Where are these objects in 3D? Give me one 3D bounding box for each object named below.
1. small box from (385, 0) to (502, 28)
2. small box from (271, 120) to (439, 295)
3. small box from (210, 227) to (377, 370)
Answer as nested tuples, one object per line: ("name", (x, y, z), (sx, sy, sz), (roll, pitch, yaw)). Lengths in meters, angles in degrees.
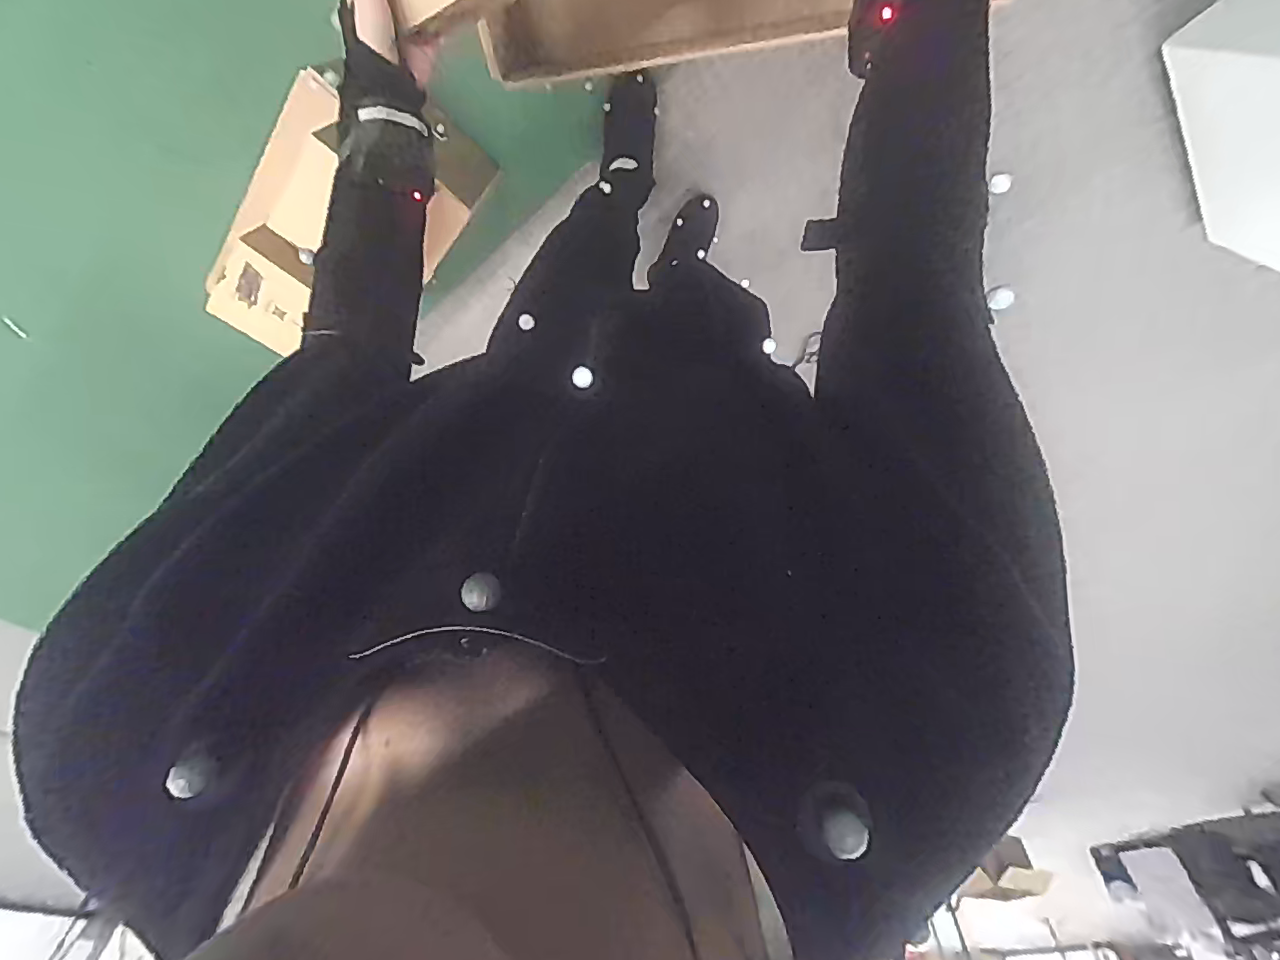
("small box", (-0.117, -0.481, 0.403), (0.179, 0.176, 0.168), (7, 136, 32))
("small box", (-0.462, -0.453, 0.900), (0.168, 0.176, 0.179), (36, 122, -29))
("small box", (-0.626, -0.345, 0.995), (0.179, 0.176, 0.168), (36, 122, -28))
